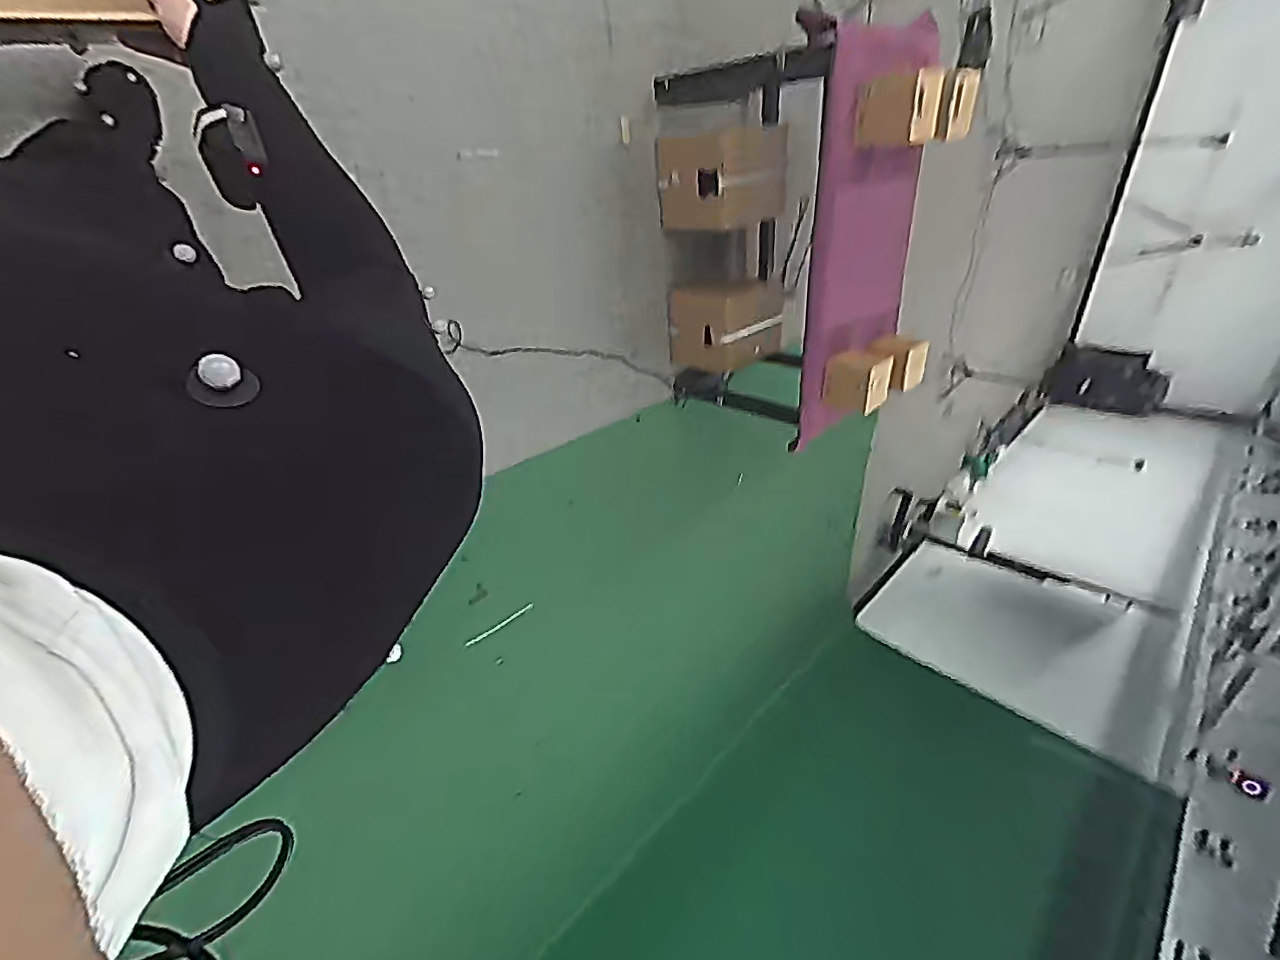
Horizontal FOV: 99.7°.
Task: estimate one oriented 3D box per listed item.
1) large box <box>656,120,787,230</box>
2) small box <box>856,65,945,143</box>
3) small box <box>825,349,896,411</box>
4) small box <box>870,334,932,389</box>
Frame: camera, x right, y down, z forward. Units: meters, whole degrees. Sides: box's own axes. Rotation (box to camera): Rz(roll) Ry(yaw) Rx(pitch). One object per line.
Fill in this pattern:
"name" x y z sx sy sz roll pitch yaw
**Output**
"large box" 0.315 -1.164 2.072 0.408 0.320 0.320 -32 130 -34
"small box" 0.741 -1.075 1.551 0.179 0.176 0.168 -32 130 -35
"small box" 0.785 -0.362 1.931 0.179 0.176 0.168 -29 126 -38
"small box" 1.013 -0.471 2.120 0.179 0.176 0.168 -27 124 -35
